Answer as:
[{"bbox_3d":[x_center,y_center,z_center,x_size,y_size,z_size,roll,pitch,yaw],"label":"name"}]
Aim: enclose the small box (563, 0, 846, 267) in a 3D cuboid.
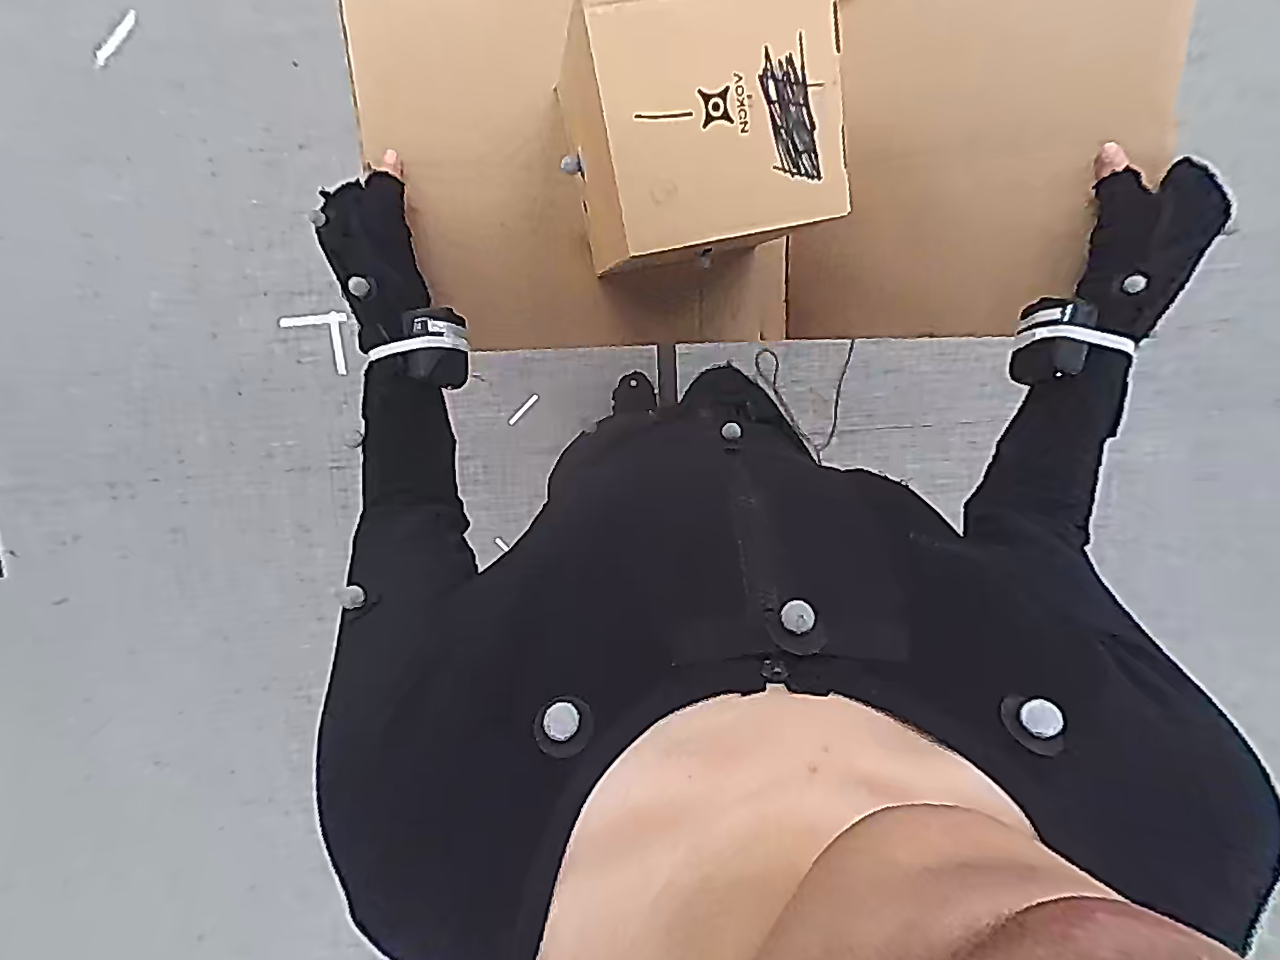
[{"bbox_3d":[0.044,-0.285,0.452,0.179,0.176,0.168,-15,108,-9],"label":"small box"}]
